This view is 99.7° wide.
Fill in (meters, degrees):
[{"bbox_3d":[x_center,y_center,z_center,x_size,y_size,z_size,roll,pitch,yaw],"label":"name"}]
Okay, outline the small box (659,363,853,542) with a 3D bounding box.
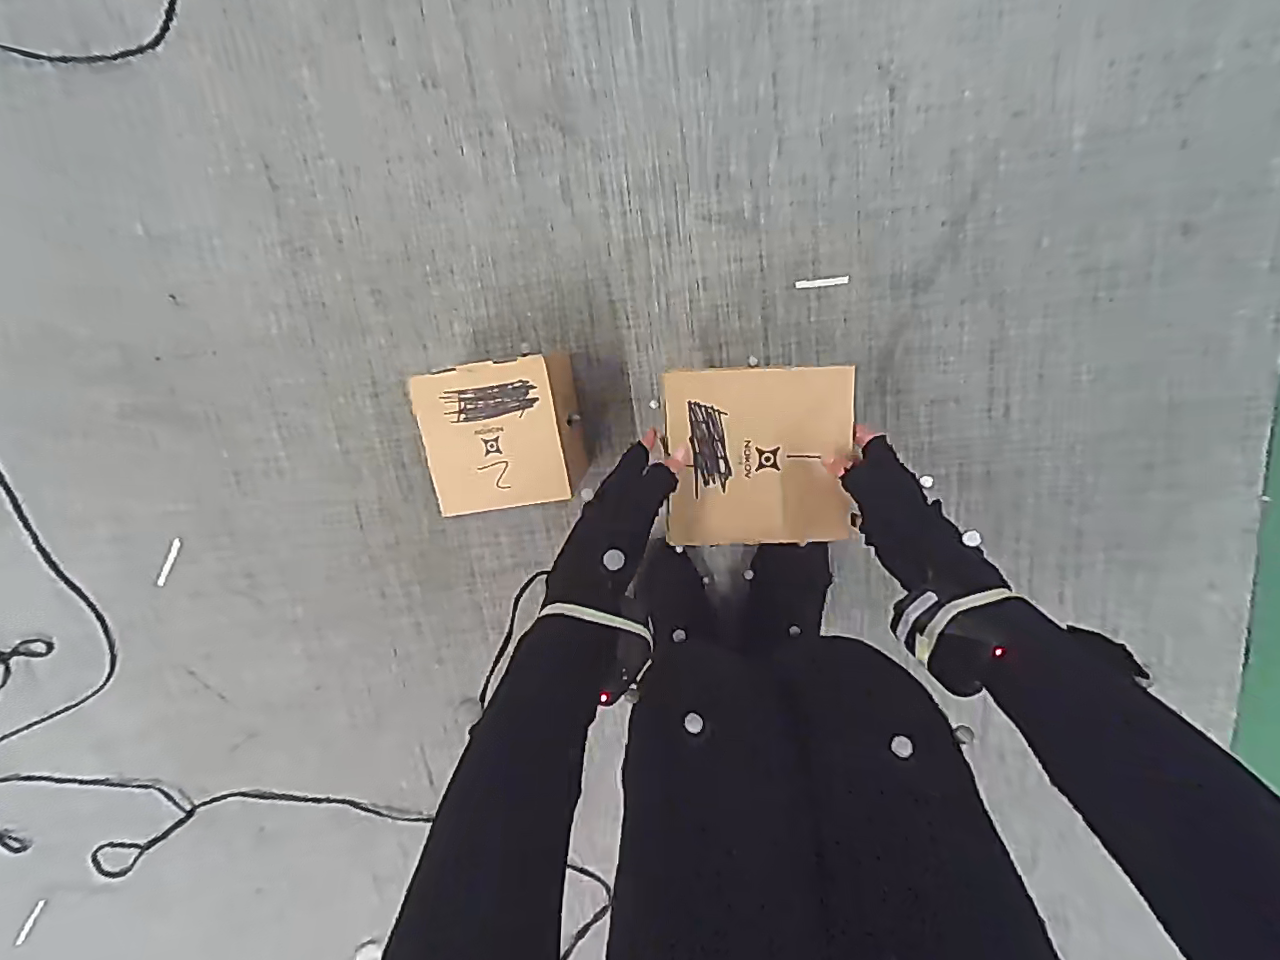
[{"bbox_3d":[0.110,-0.033,0.578,0.179,0.176,0.168,-2,98,1],"label":"small box"}]
